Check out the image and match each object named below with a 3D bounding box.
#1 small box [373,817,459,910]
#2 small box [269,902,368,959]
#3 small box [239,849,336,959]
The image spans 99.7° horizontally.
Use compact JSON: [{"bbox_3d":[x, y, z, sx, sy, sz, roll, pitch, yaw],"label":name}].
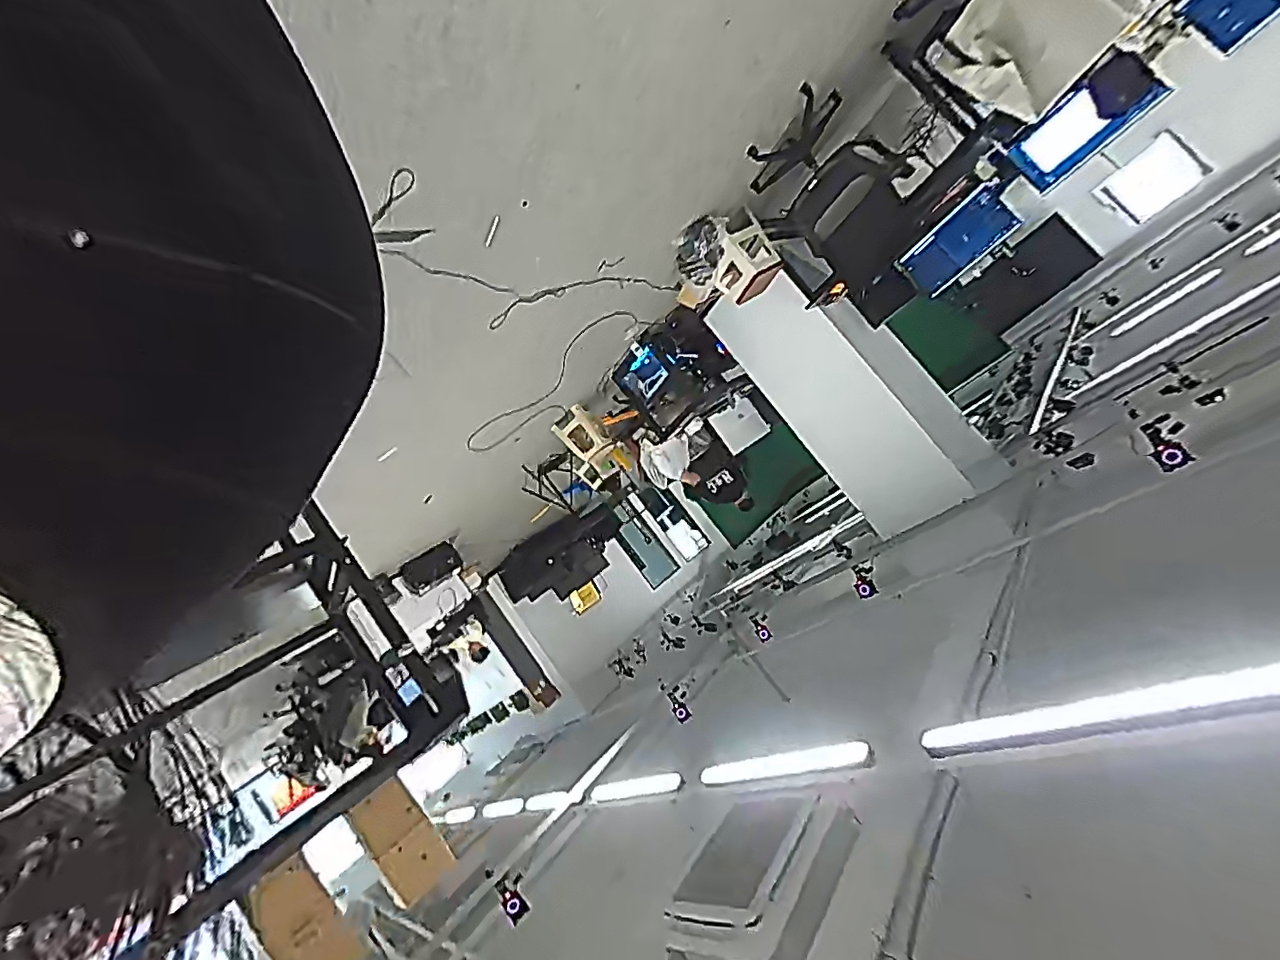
[{"bbox_3d":[-0.692,1.168,1.658,0.168,0.176,0.179,-31,173,-44],"label":"small box"},{"bbox_3d":[-0.873,1.280,1.464,0.168,0.176,0.179,-32,172,-45],"label":"small box"},{"bbox_3d":[-0.968,1.148,1.480,0.168,0.176,0.179,-31,173,-44],"label":"small box"}]
